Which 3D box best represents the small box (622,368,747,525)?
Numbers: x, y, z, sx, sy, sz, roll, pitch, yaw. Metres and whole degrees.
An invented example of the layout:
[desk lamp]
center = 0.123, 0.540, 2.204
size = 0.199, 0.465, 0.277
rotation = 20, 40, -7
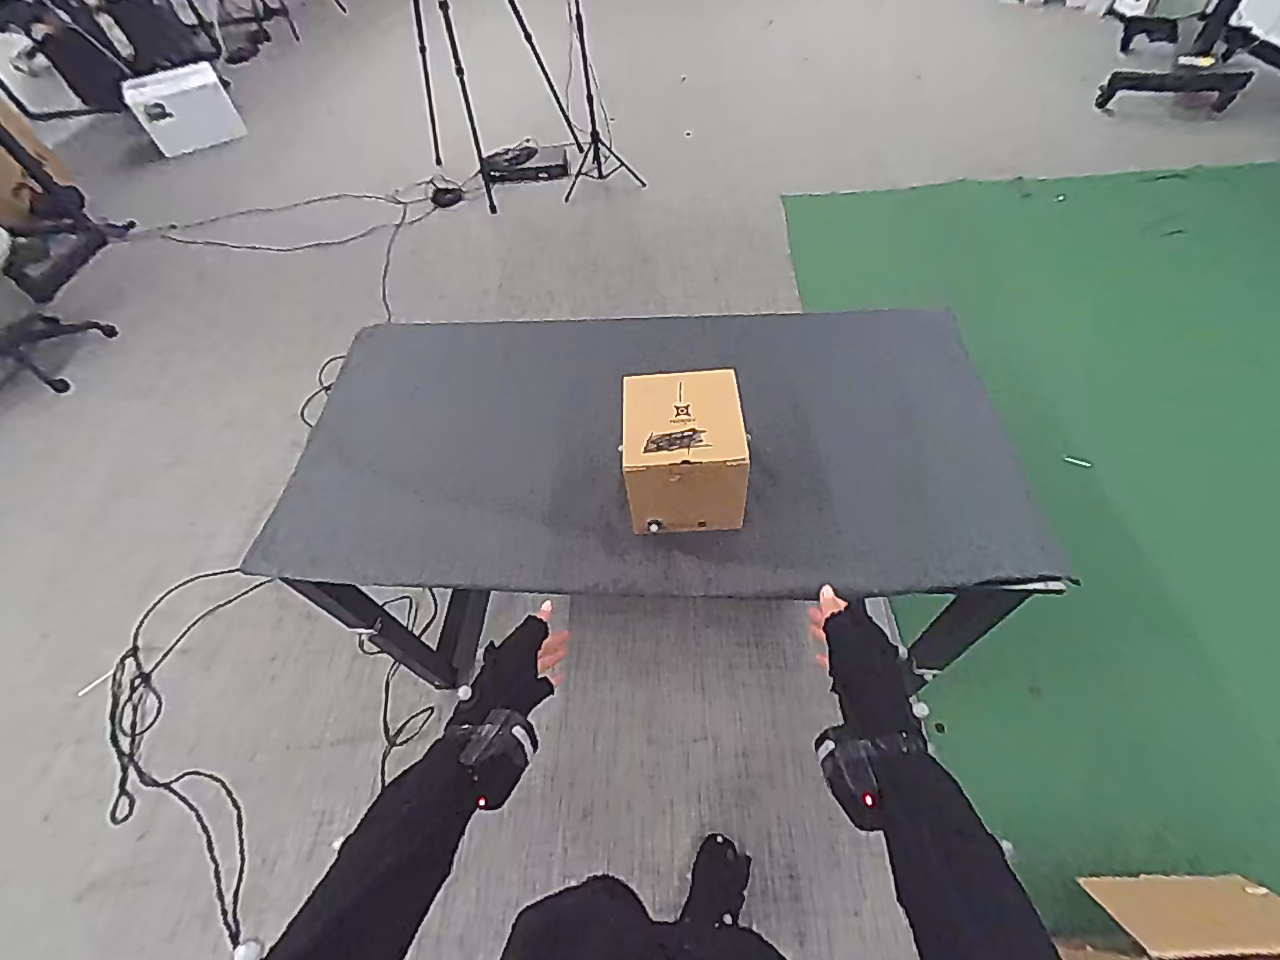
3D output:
[small box]
center = 0.065, -0.043, 0.808
size = 0.168, 0.176, 0.179
rotation = -3, 53, 3
